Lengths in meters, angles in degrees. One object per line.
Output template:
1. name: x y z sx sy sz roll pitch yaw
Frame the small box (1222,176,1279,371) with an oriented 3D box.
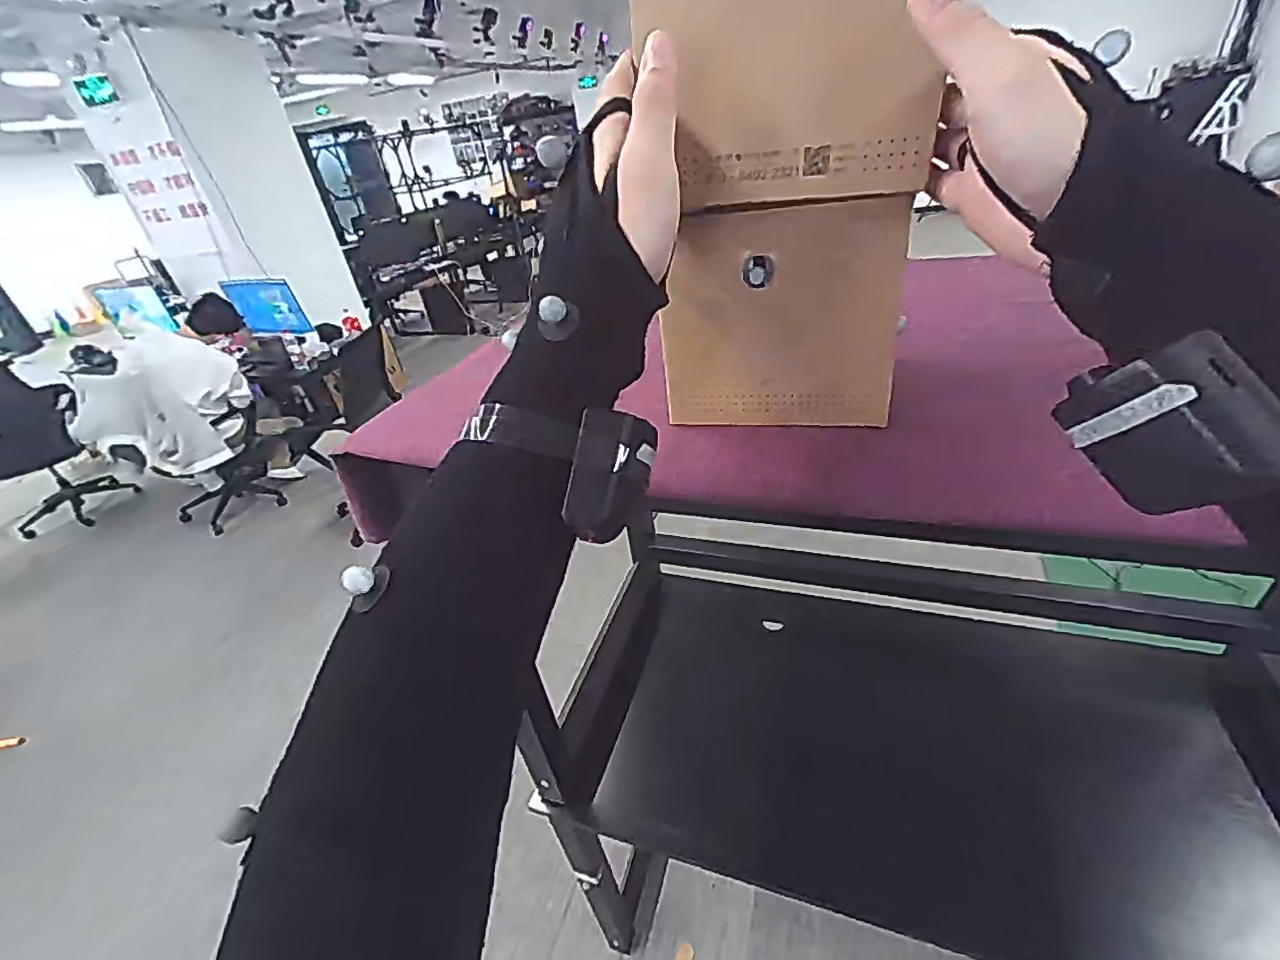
1. small box: 0.554 -0.154 0.355 0.168 0.176 0.179 7 35 23

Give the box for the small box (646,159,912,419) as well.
1. small box: 0.118 -0.161 0.461 0.179 0.176 0.168 3 35 17
